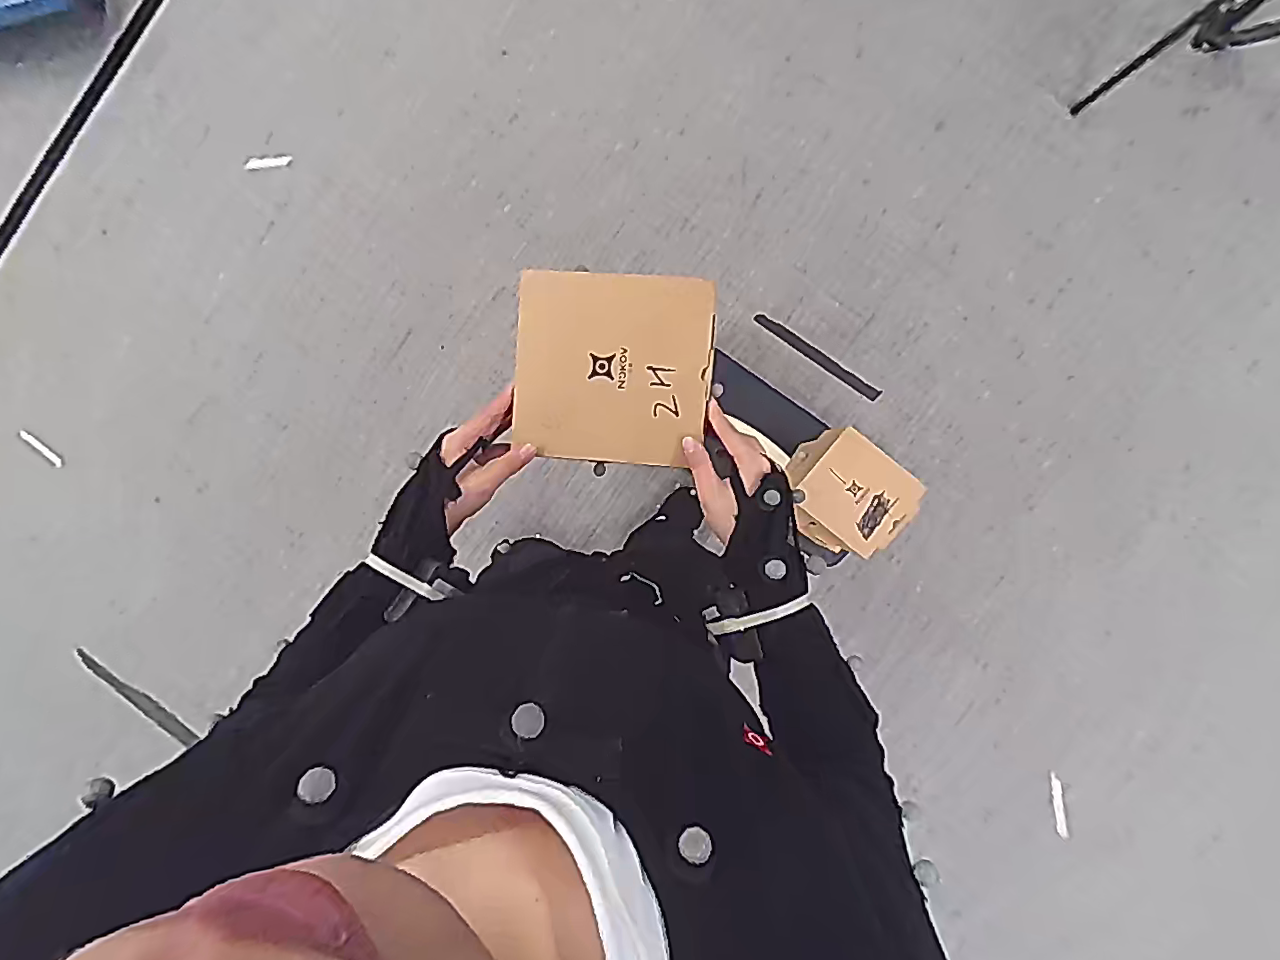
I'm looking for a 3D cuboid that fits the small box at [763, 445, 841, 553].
[{"bbox_3d":[0.388,0.033,1.181,0.168,0.176,0.179,34,94,3],"label":"small box"}]

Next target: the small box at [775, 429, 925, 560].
[{"bbox_3d":[0.382,0.022,1.017,0.179,0.176,0.168,40,94,3],"label":"small box"}]

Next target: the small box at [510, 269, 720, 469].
[{"bbox_3d":[-0.017,-0.101,0.550,0.179,0.176,0.168,5,94,5],"label":"small box"}]
